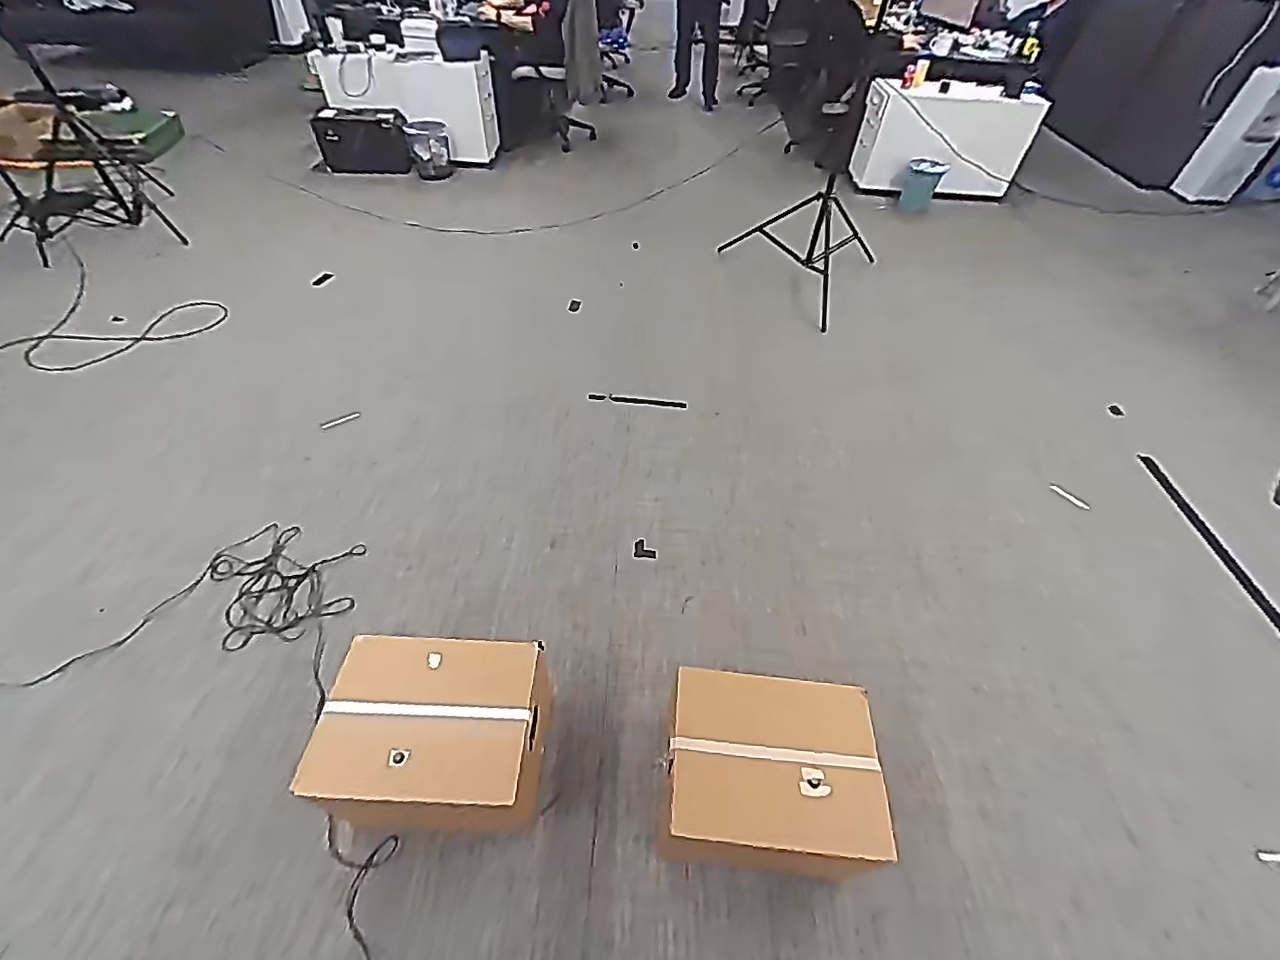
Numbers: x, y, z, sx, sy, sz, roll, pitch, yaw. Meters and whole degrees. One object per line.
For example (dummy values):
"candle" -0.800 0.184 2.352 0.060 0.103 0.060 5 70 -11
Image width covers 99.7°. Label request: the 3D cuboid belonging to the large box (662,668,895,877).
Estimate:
"large box" 0.263 0.639 1.177 0.408 0.320 0.320 6 48 1
